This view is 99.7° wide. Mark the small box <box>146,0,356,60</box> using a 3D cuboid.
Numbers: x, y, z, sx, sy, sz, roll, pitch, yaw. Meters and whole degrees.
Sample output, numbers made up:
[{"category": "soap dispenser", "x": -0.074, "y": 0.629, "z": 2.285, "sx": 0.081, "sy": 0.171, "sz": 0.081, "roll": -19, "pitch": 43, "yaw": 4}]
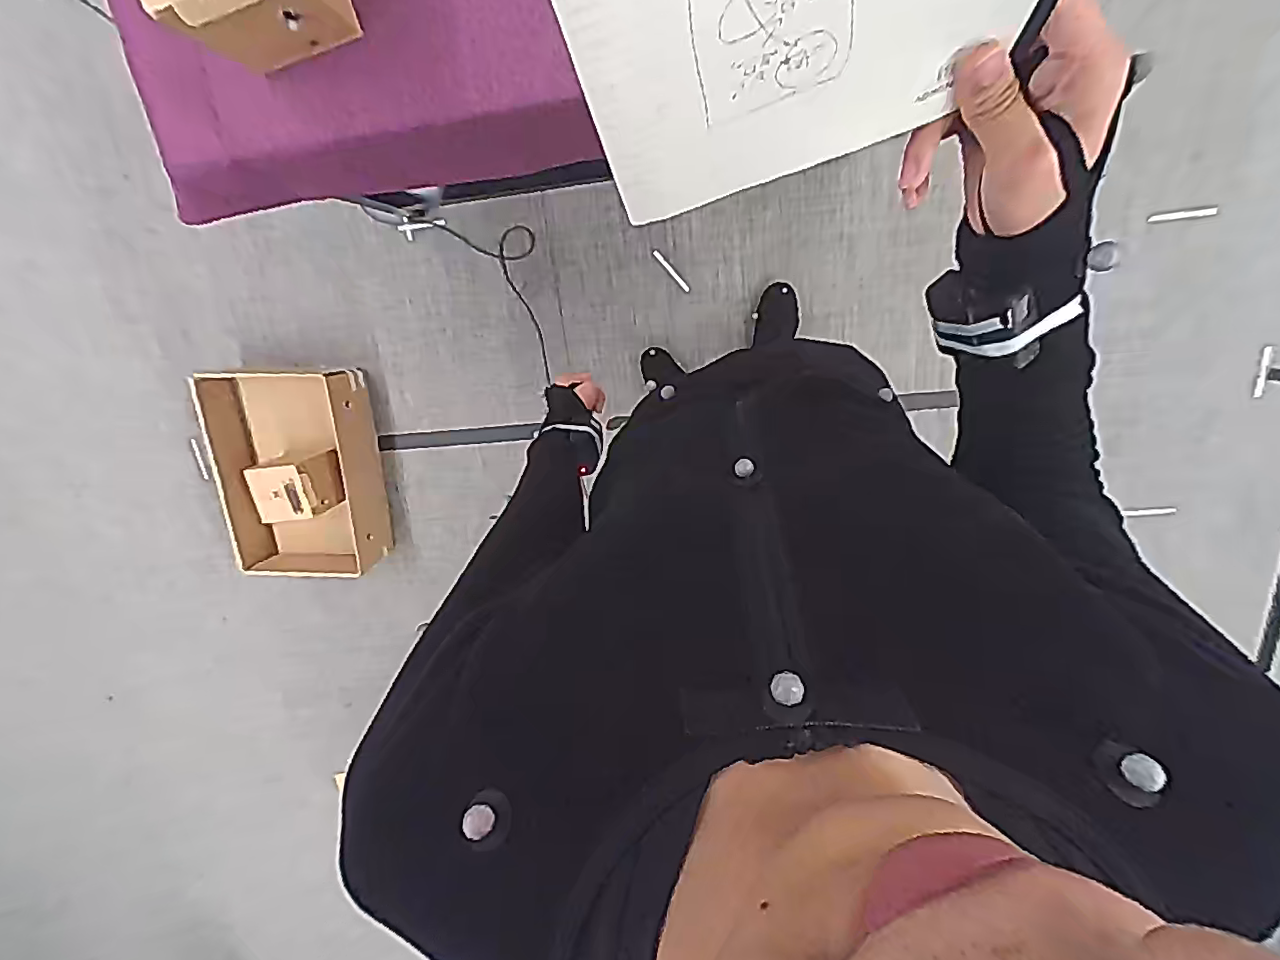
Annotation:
[{"category": "small box", "x": -0.477, "y": -0.638, "z": 0.639, "sx": 0.168, "sy": 0.176, "sz": 0.179, "roll": -13, "pitch": 107, "yaw": 8}]
